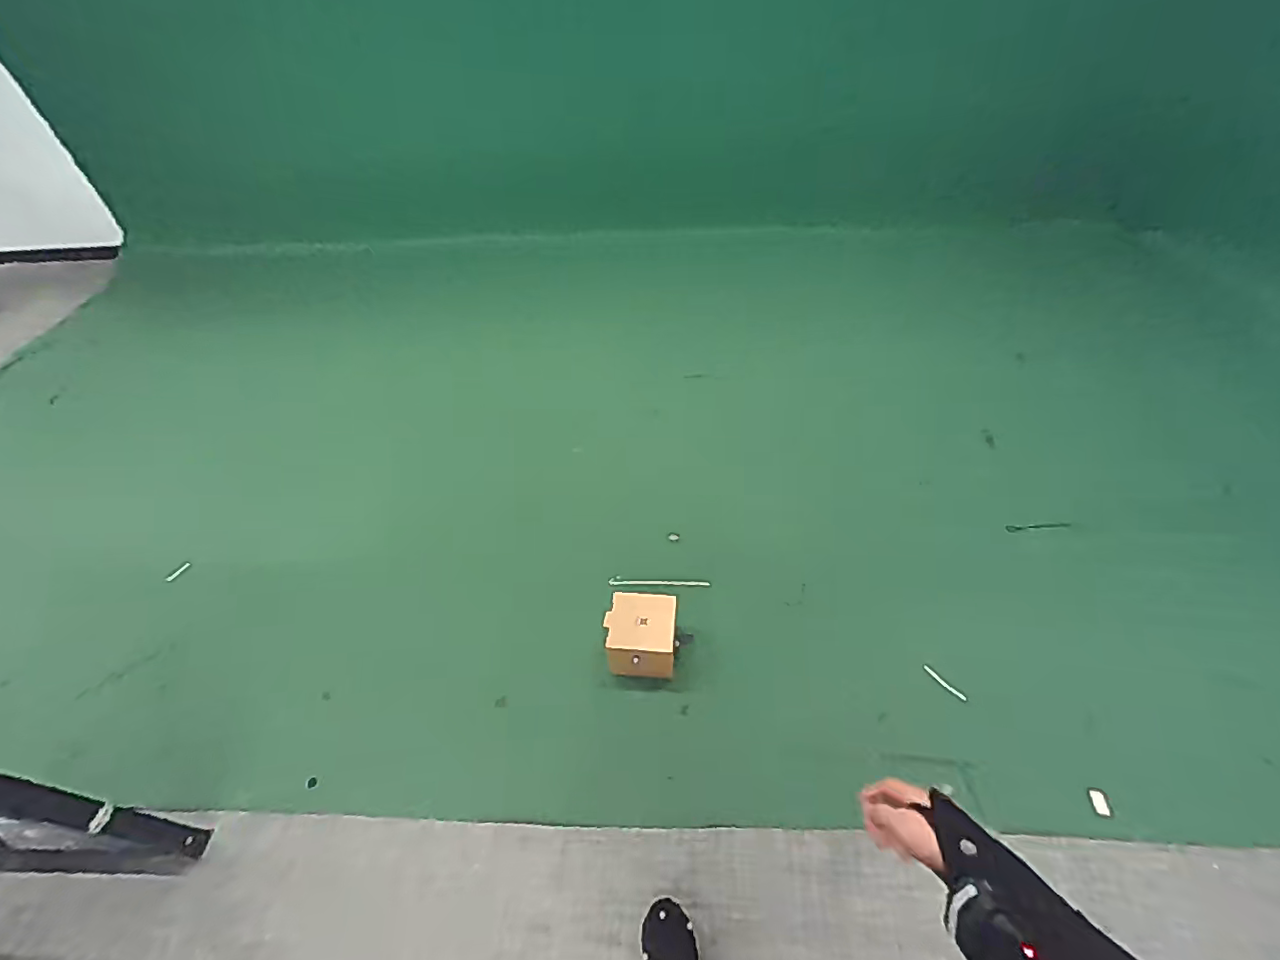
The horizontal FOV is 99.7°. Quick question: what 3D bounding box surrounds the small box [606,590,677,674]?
[{"bbox_3d":[0.010,0.422,1.487,0.179,0.176,0.168,2,49,6],"label":"small box"}]
